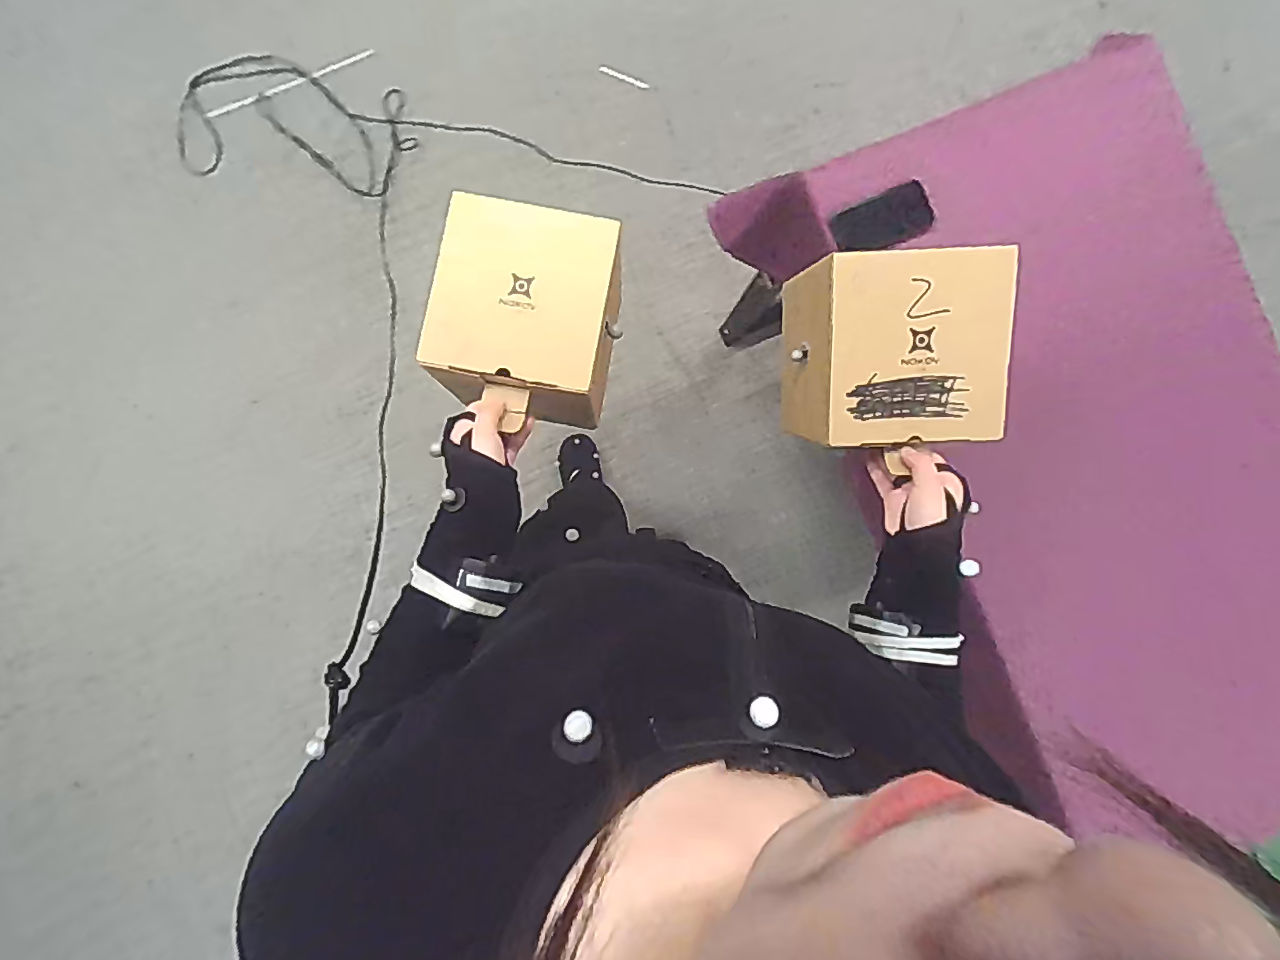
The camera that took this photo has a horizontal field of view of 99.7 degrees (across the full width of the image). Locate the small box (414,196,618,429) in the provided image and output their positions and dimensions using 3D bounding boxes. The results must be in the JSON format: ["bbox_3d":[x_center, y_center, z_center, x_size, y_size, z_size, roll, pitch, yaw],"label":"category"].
[{"bbox_3d":[-0.121,-0.167,0.590,0.168,0.176,0.179,9,85,-2],"label":"small box"}]
